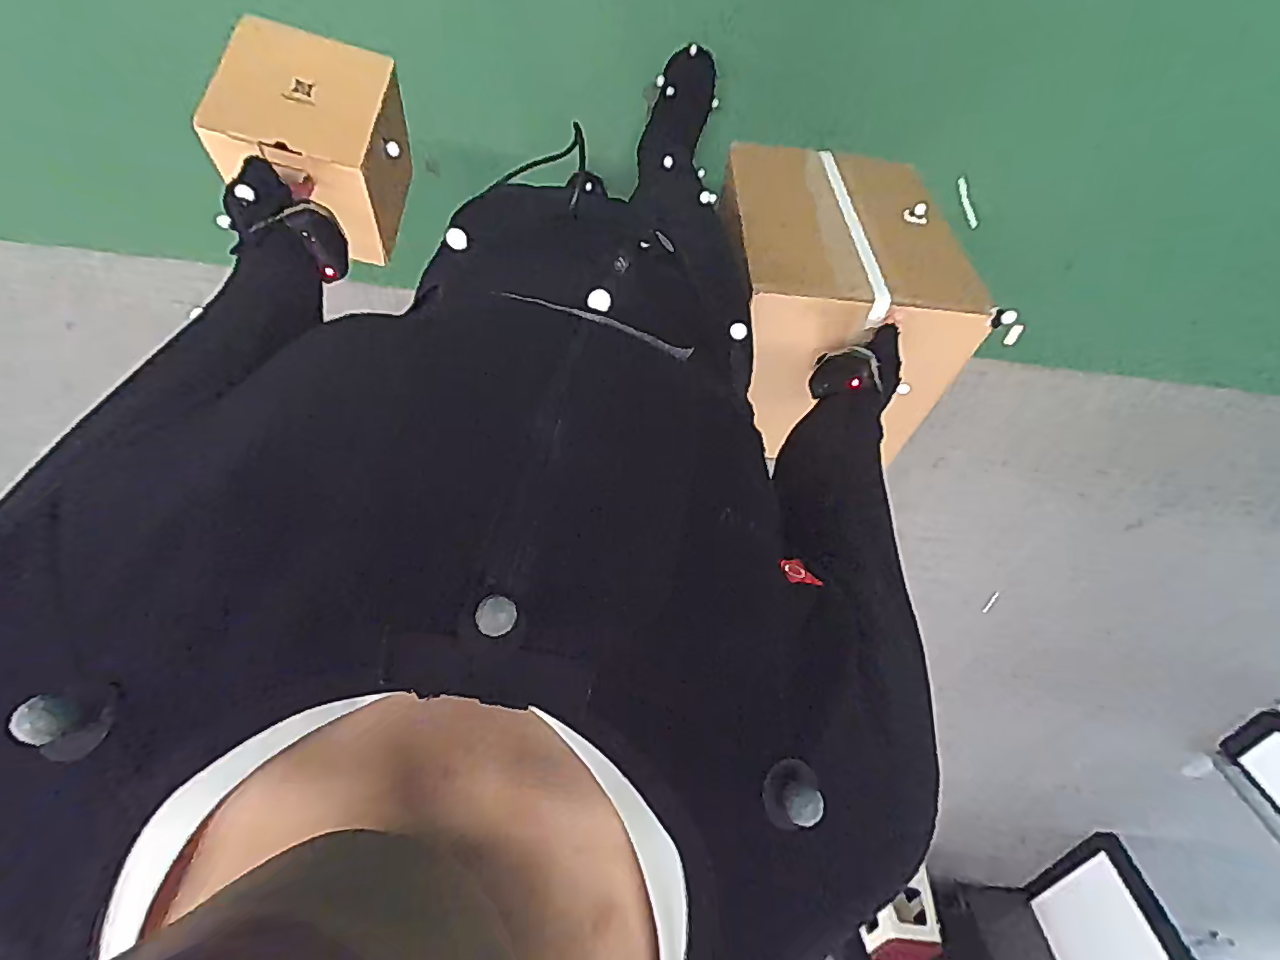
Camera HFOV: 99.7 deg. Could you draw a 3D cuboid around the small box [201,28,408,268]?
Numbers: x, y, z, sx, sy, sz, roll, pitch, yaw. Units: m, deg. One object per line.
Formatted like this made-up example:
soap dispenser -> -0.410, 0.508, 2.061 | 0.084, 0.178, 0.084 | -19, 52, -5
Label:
small box -> -0.406, -0.411, 0.694 | 0.168, 0.179, 0.176 | 8, 161, -13
